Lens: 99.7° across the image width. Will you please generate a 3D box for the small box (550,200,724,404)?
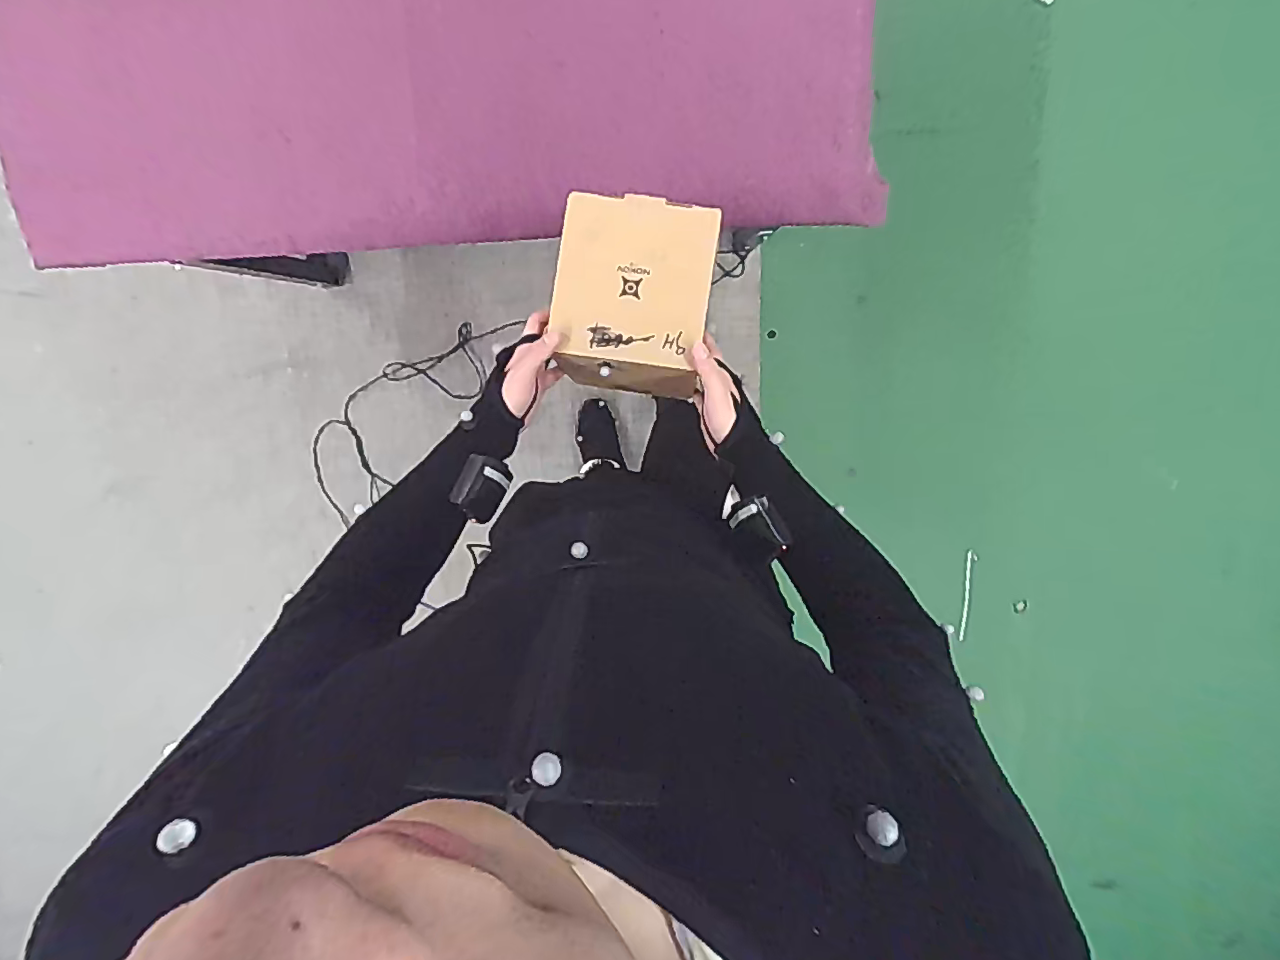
[{"bbox_3d":[-0.001,-0.202,0.656,0.168,0.176,0.179,8,89,3],"label":"small box"}]
